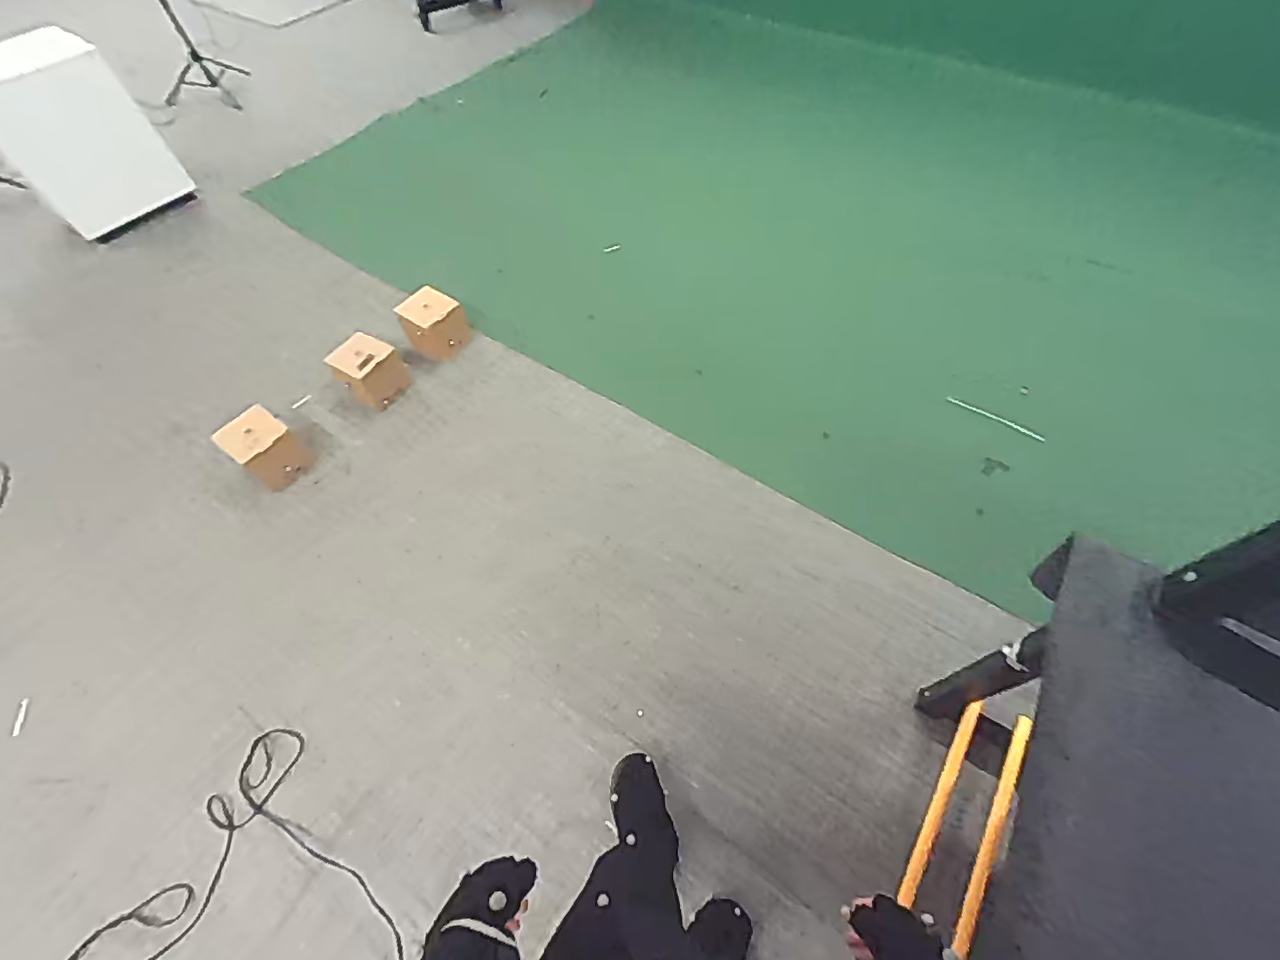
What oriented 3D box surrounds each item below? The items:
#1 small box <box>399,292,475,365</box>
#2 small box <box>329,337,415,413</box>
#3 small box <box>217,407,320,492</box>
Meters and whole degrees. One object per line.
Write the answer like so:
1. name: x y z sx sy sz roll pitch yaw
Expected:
1. small box: -0.747 -0.557 2.007 0.179 0.176 0.168 30 63 19
2. small box: -0.922 -0.360 1.879 0.179 0.176 0.168 26 61 18
3. small box: -1.163 -0.090 1.705 0.179 0.176 0.168 32 64 19
